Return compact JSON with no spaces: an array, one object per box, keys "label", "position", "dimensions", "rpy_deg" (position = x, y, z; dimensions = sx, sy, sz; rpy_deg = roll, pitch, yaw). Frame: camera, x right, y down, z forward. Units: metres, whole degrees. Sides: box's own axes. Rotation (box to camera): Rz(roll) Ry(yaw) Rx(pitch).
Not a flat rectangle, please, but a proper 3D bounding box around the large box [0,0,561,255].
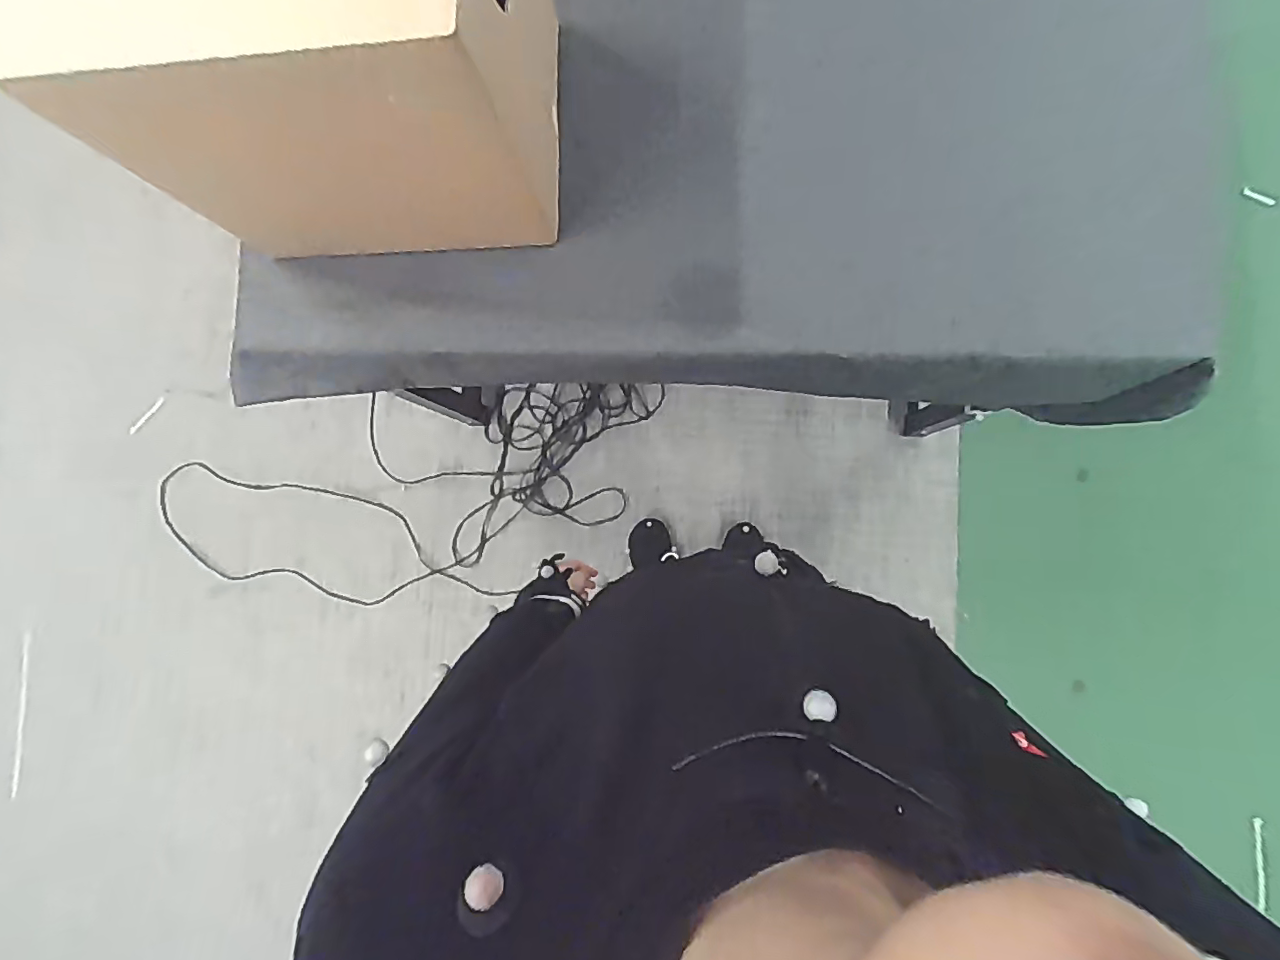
[{"label":"large box","position":[-0.313,-0.468,0.575],"dimensions":[0.408,0.320,0.320],"rpy_deg":[-1,87,4]}]
